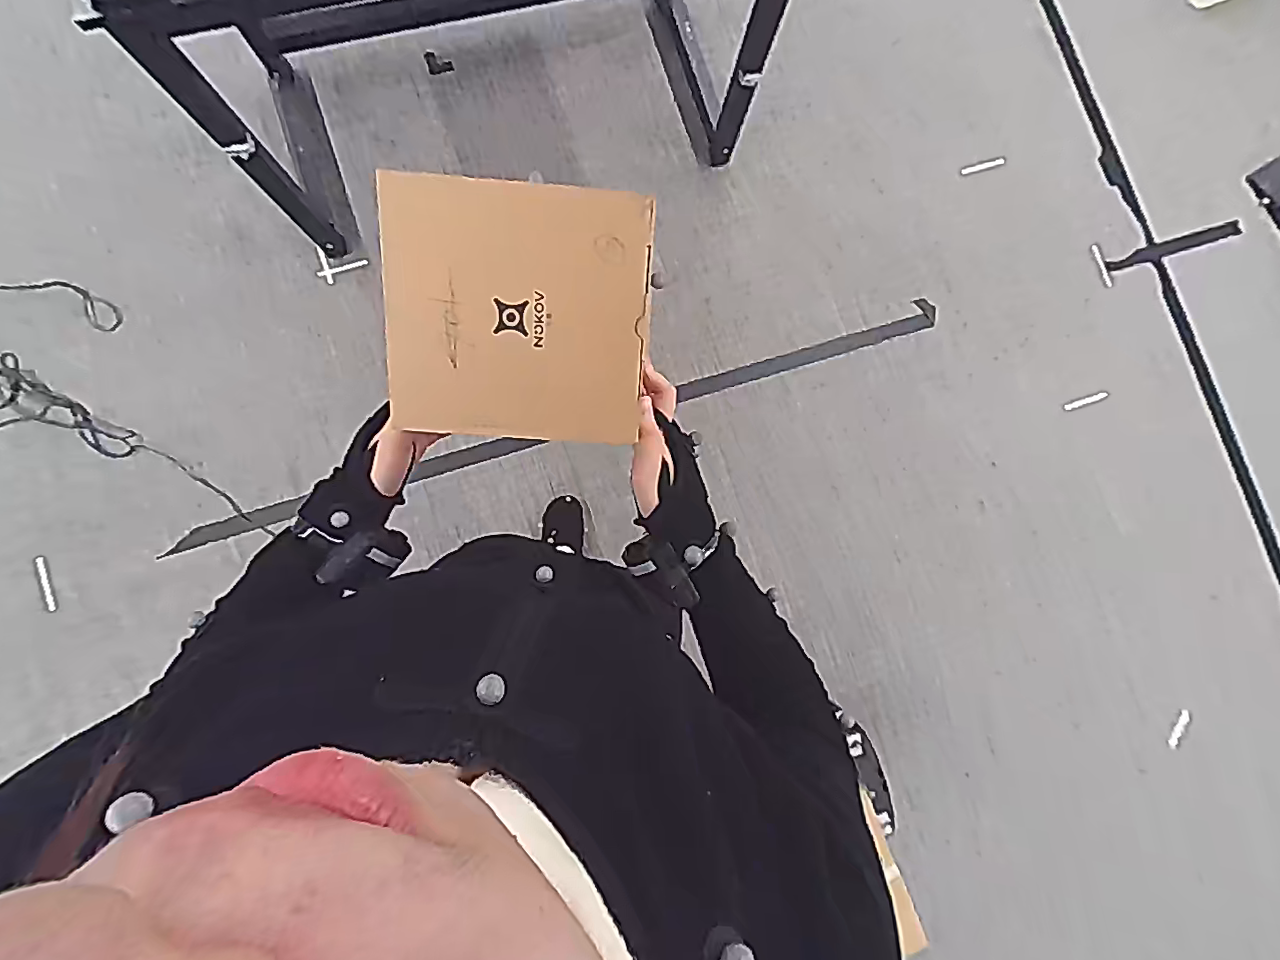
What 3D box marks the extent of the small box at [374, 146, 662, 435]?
[{"bbox_3d":[-0.083,-0.139,0.426,0.179,0.176,0.168,4,106,-3],"label":"small box"}]
